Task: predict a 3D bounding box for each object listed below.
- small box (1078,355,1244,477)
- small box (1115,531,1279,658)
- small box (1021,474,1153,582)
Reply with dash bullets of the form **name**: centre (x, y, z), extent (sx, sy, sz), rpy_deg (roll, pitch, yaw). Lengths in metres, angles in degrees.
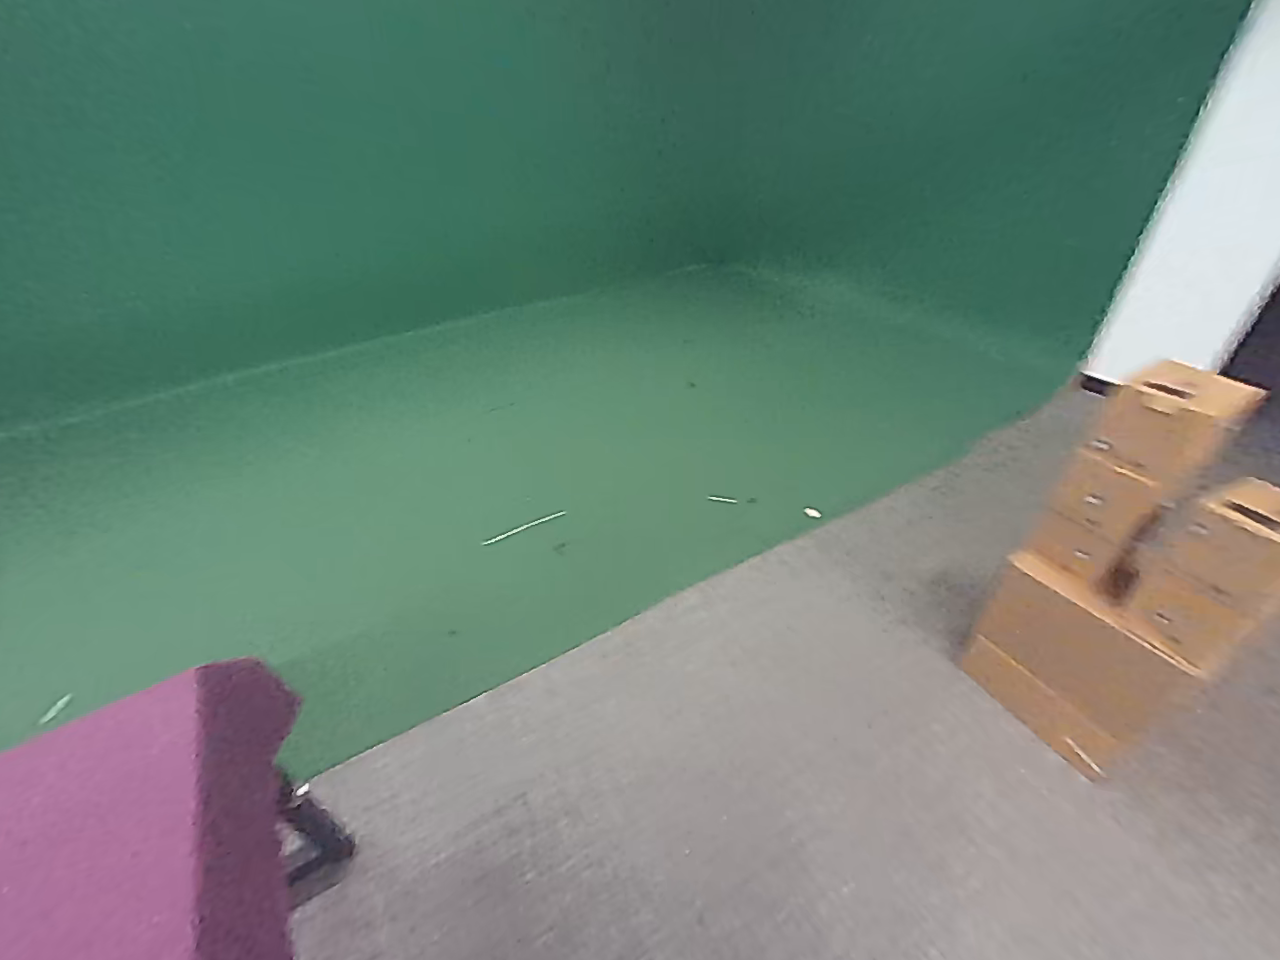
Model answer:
- **small box**: centre (1.059, -0.131, 1.118), extent (0.179, 0.176, 0.168), rpy_deg (-22, 43, -21)
- **small box**: centre (1.182, 0.244, 1.157), extent (0.179, 0.176, 0.168), rpy_deg (-18, 39, -16)
- **small box**: centre (1.082, 0.120, 1.329), extent (0.179, 0.176, 0.168), rpy_deg (-21, 43, -19)
